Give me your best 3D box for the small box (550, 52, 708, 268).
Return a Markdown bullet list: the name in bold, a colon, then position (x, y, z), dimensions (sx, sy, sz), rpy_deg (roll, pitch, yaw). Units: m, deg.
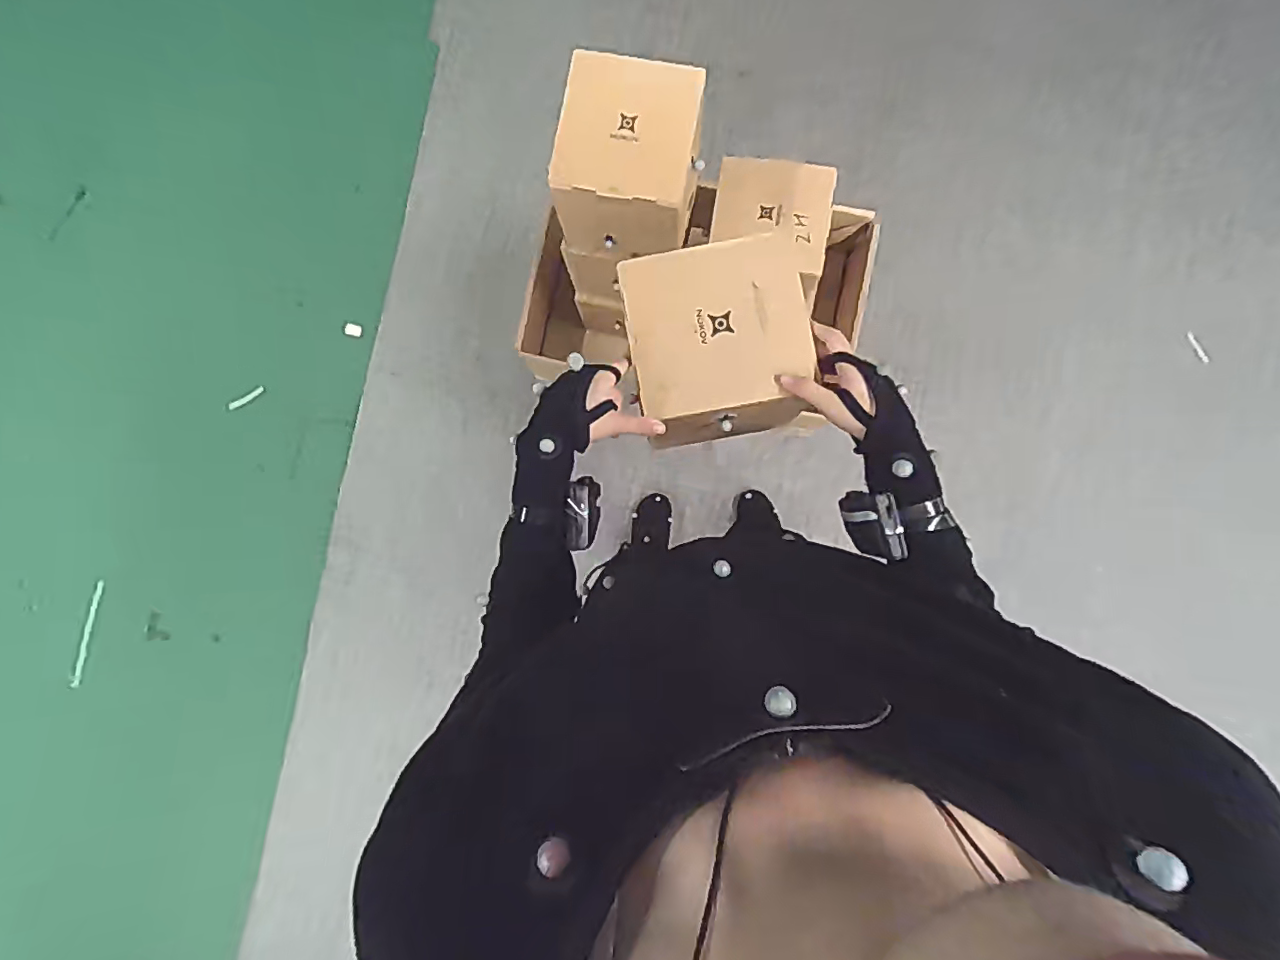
- **small box**: position (-0.012, -0.416, 0.728), dimensions (0.168, 0.176, 0.179), rpy_deg (10, 87, 3)
